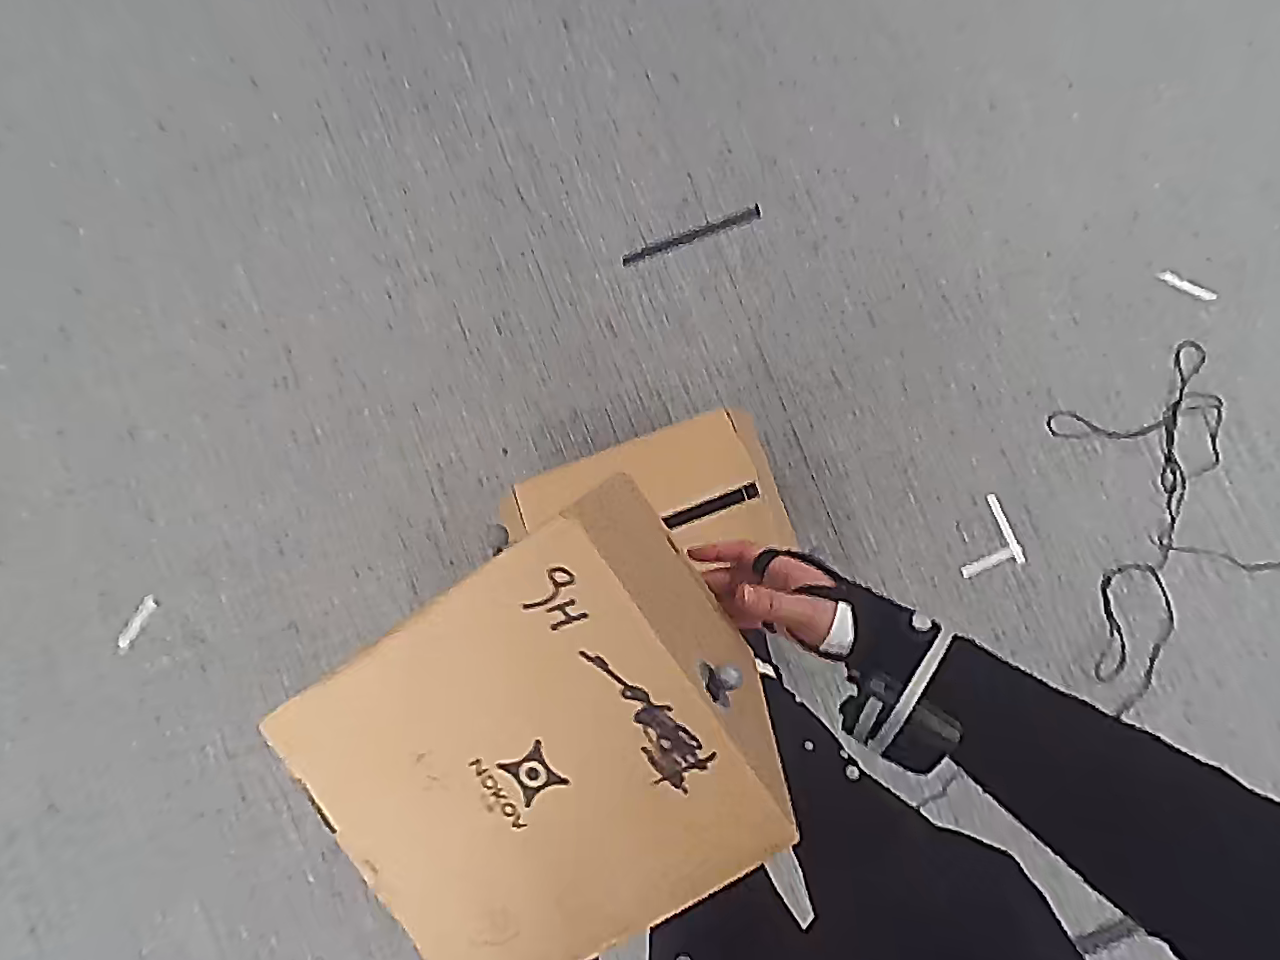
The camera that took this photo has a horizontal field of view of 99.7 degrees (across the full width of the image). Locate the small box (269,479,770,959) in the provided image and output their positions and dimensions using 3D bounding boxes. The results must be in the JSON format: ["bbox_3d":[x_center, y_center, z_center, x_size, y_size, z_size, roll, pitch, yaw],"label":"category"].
[{"bbox_3d":[-0.048,0.117,0.316,0.179,0.176,0.168,-35,92,9],"label":"small box"}]
